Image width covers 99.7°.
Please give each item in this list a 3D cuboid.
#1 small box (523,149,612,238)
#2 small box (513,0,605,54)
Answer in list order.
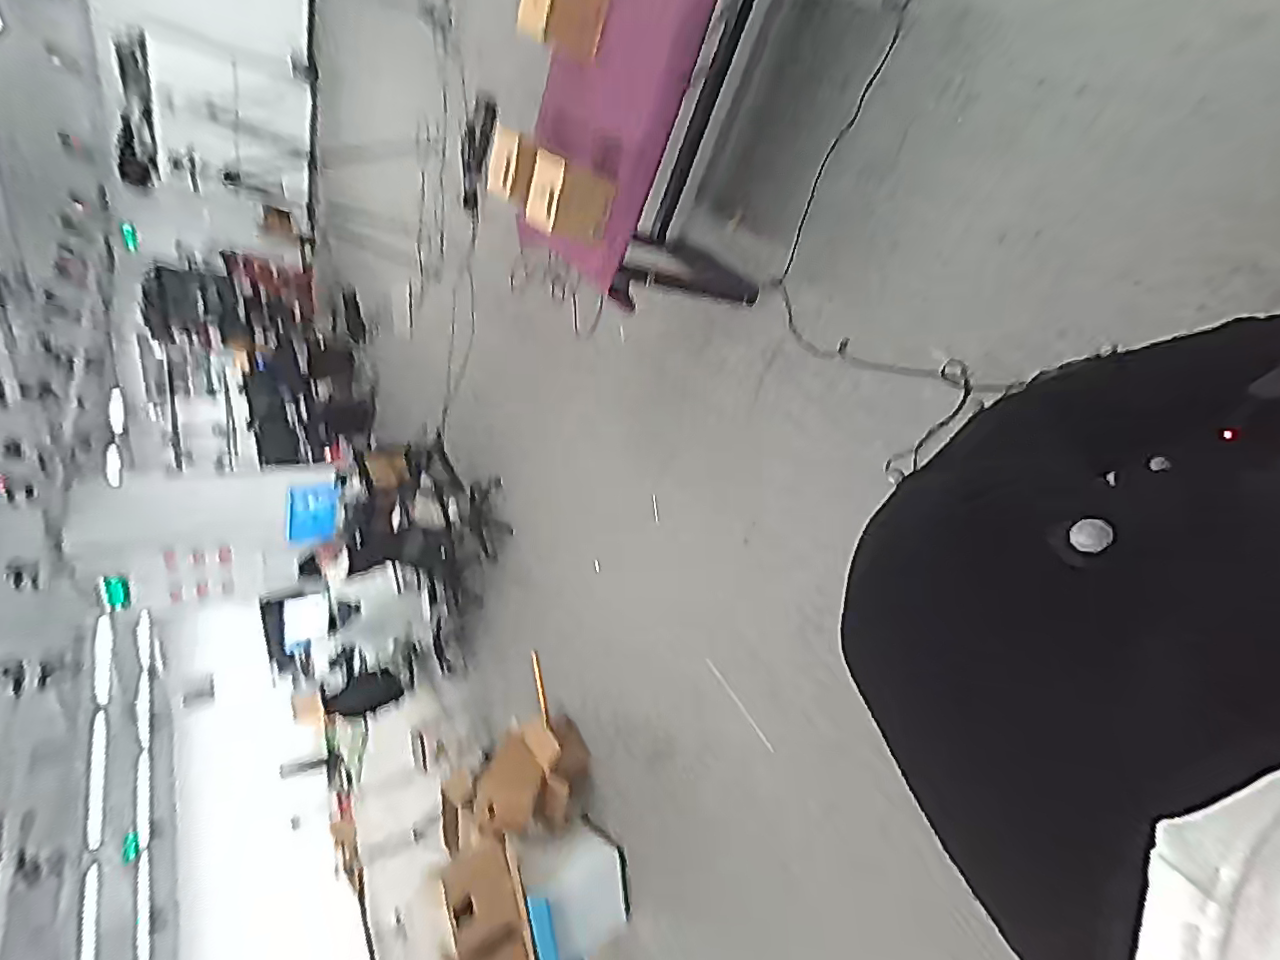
[{"bbox_3d":[-0.200,-0.792,1.504,0.179,0.176,0.168,48,128,38],"label":"small box"},{"bbox_3d":[-0.219,-1.302,1.472,0.179,0.176,0.168,50,130,33],"label":"small box"}]
